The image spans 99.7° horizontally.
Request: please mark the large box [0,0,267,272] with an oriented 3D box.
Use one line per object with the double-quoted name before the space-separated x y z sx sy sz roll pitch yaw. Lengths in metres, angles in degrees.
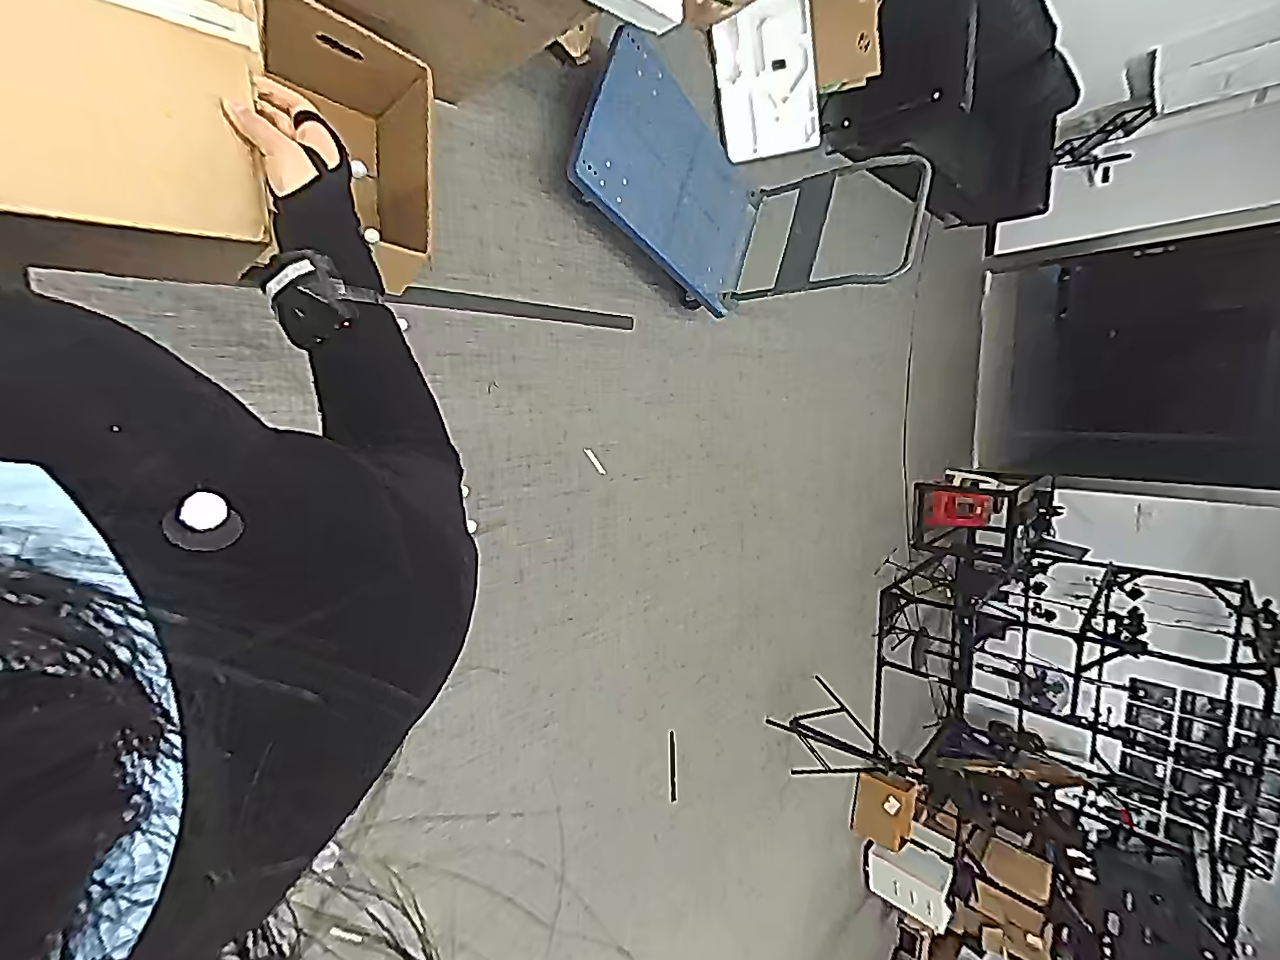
"large box" -0.569 -0.355 0.419 0.408 0.320 0.320 -10 105 -40
